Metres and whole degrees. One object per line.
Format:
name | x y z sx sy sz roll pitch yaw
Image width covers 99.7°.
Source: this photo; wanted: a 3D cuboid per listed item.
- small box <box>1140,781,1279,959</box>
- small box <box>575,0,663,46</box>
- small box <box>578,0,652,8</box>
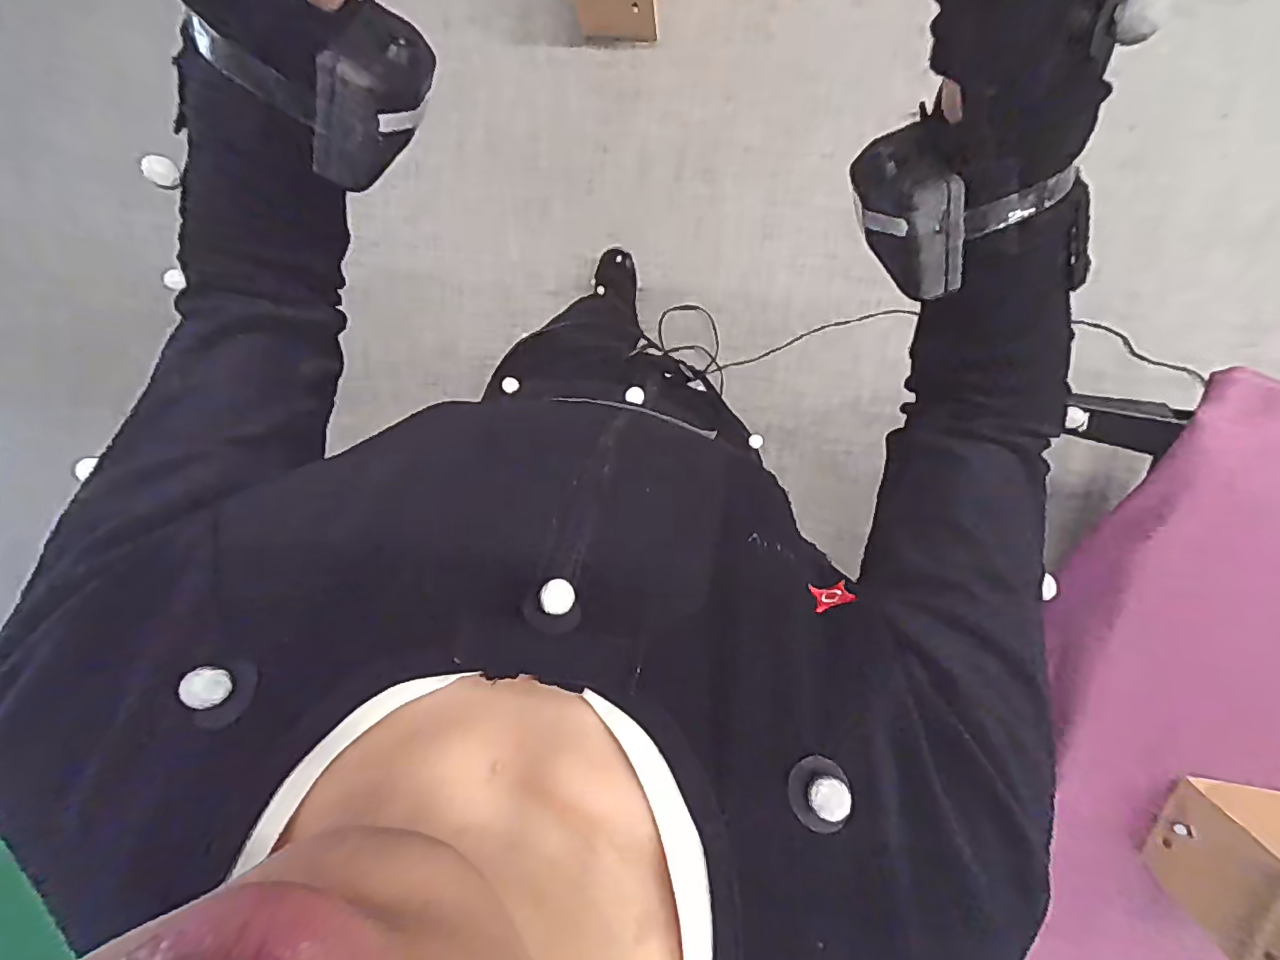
small box | 0.858 0.545 0.732 0.179 0.176 0.168 11 104 1
small box | -0.041 -1.054 1.138 0.179 0.176 0.168 5 104 2
small box | -0.052 -1.013 0.979 0.168 0.176 0.179 6 103 2
